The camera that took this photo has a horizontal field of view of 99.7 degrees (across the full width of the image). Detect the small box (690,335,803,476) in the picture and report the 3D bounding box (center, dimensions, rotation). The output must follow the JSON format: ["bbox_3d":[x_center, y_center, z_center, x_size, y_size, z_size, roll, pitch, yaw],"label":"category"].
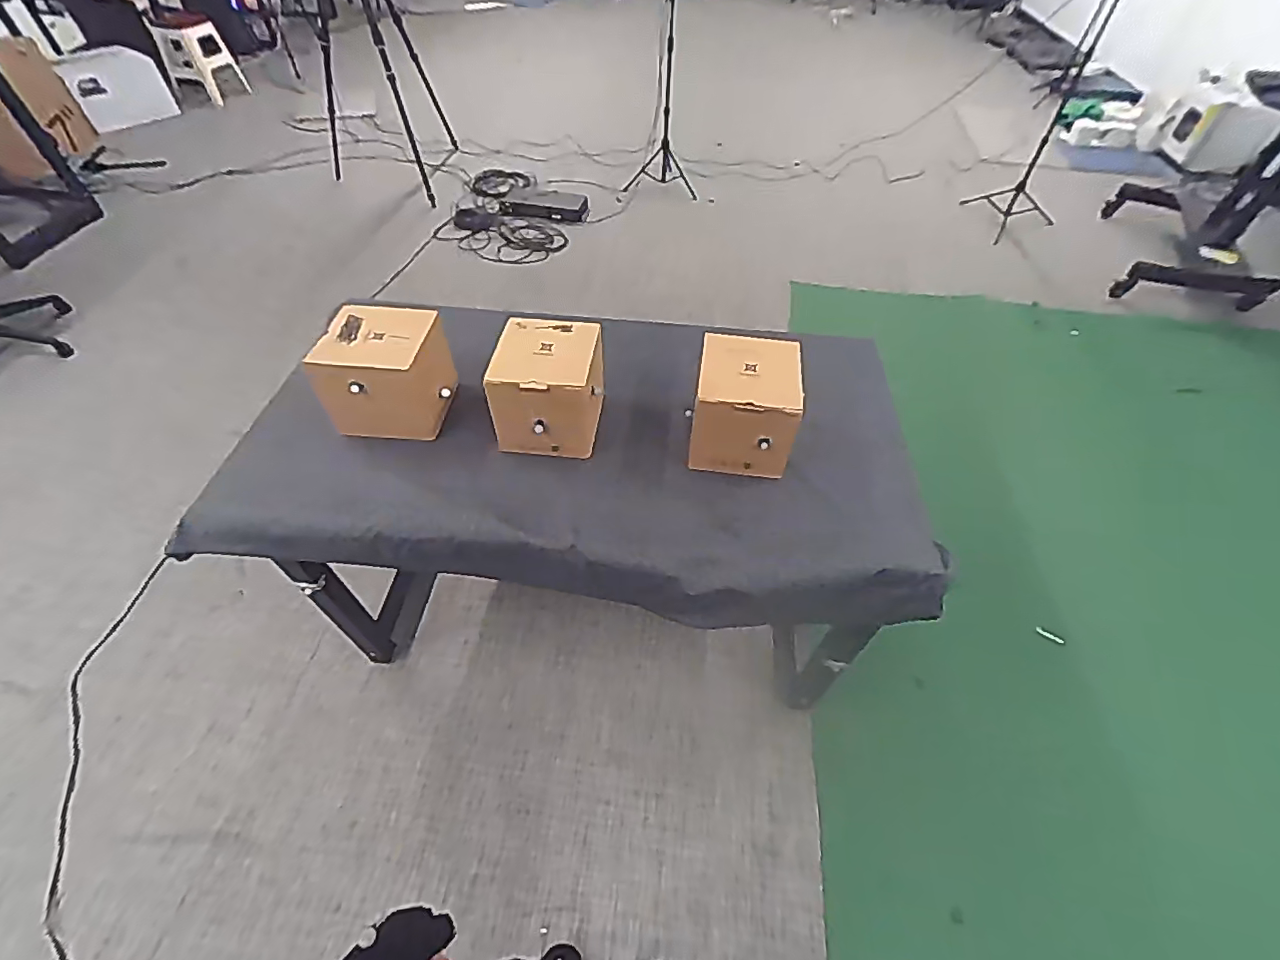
[{"bbox_3d":[0.182,-0.127,0.950,0.168,0.176,0.179,8,50,3],"label":"small box"}]

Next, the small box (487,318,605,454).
[{"bbox_3d":[-0.155,-0.165,0.969,0.168,0.176,0.179,6,51,3],"label":"small box"}]

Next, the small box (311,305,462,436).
[{"bbox_3d":[-0.446,-0.196,0.985,0.179,0.176,0.168,5,51,1],"label":"small box"}]
